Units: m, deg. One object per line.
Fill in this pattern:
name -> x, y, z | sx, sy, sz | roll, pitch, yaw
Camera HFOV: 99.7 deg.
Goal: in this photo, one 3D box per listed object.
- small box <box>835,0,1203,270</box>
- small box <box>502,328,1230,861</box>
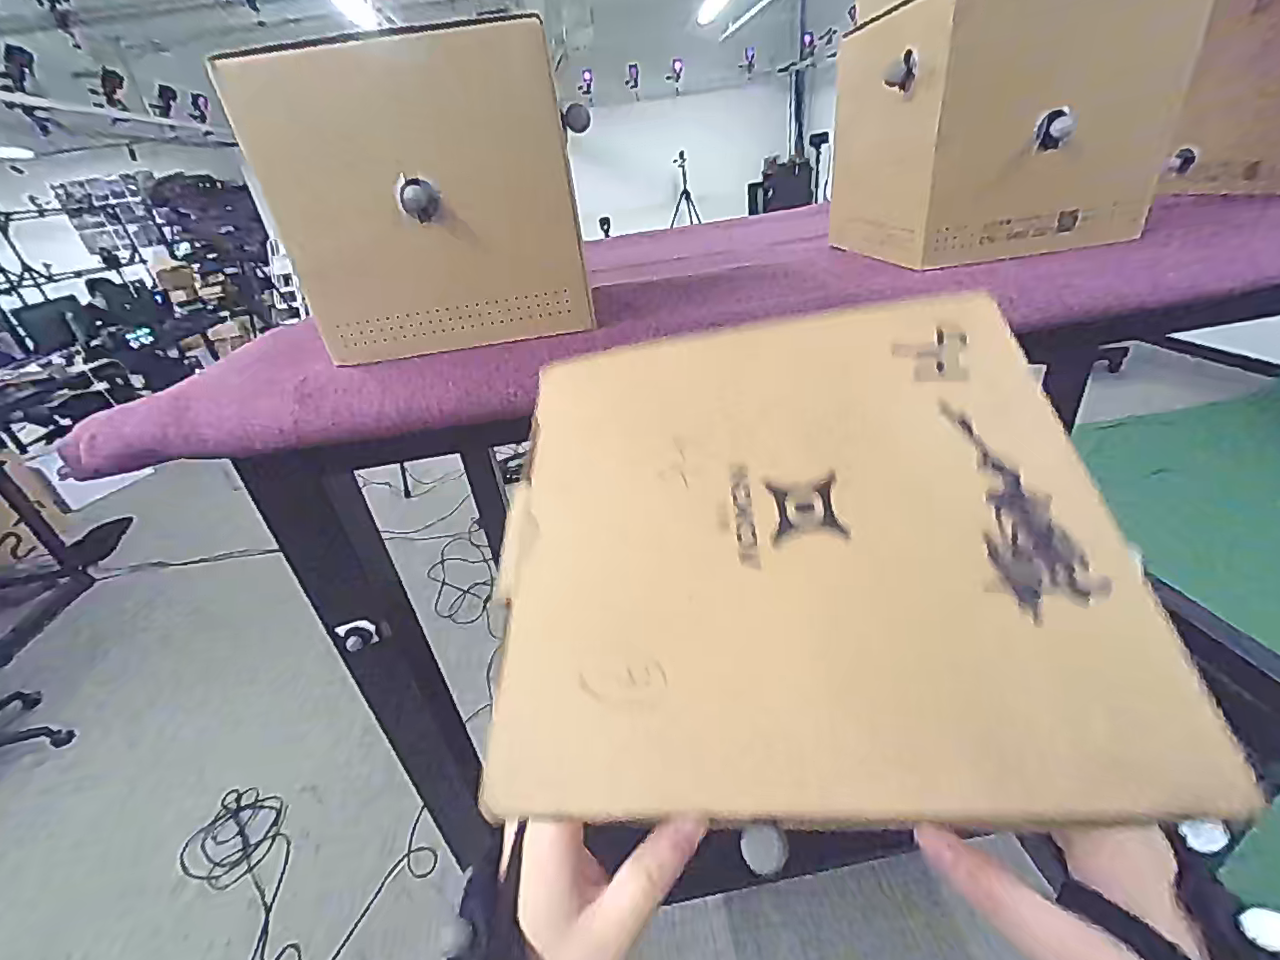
small box -> 0.269, -0.269, 0.427 | 0.168, 0.176, 0.179 | -8, 30, -1
small box -> 0.065, 0.063, 0.241 | 0.179, 0.176, 0.168 | -6, 58, 12
